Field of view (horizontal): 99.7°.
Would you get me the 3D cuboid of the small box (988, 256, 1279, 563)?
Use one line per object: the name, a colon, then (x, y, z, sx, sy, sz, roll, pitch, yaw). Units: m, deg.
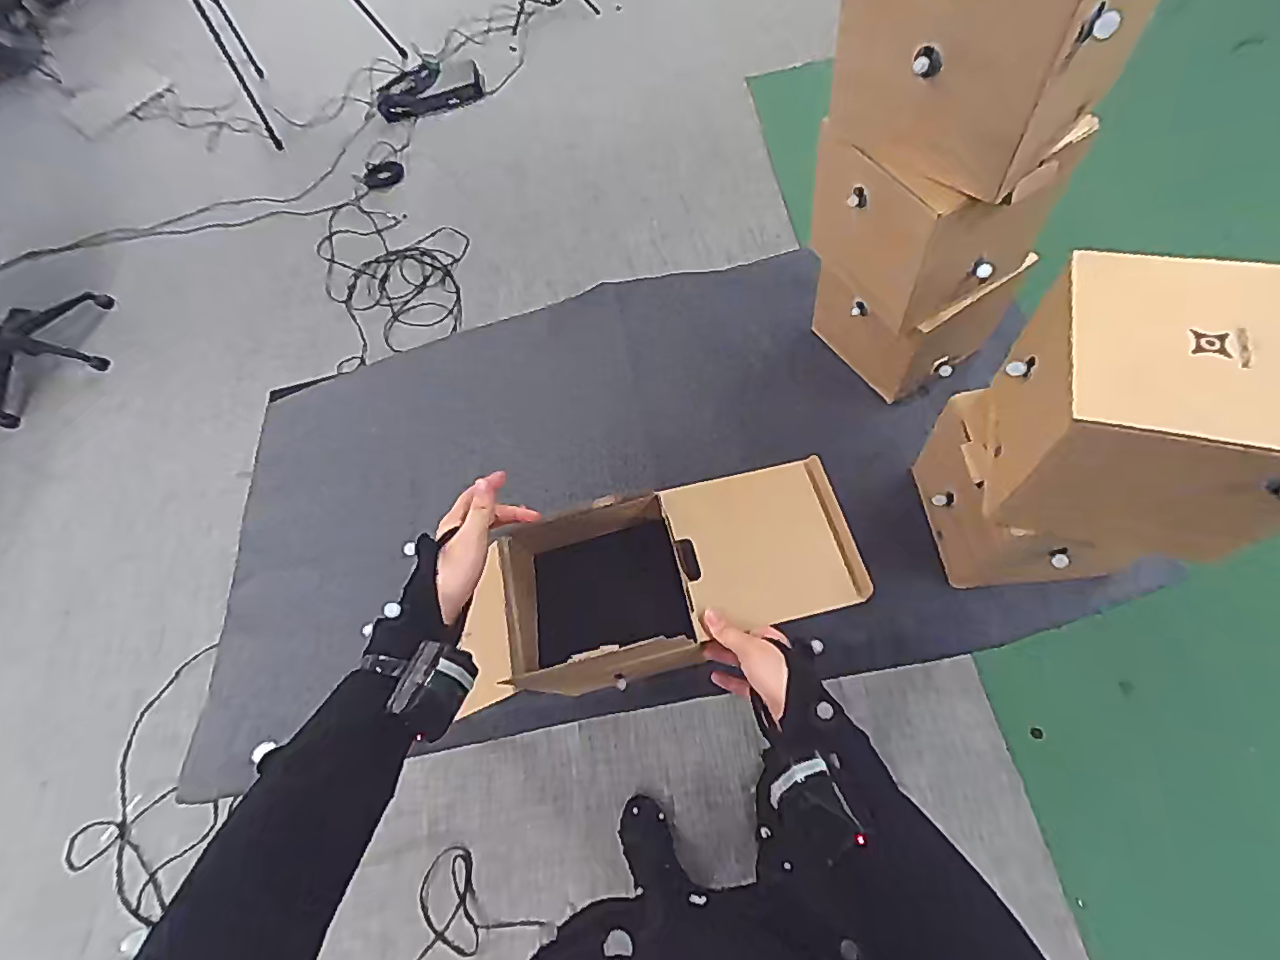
small box: (0.406, -0.049, 0.432, 0.179, 0.176, 0.168, 13, 66, 17)

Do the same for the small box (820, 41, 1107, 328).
small box: (0.308, -0.298, 0.568, 0.168, 0.176, 0.179, -30, 64, 1)

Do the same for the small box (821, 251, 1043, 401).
small box: (0.361, -0.238, 0.715, 0.168, 0.176, 0.179, -33, 66, -2)

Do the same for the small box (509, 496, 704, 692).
small box: (-0.029, 0.139, 0.619, 0.179, 0.176, 0.168, -16, 65, 6)

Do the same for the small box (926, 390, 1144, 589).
small box: (0.430, 0.012, 0.583, 0.179, 0.176, 0.168, -7, 61, 9)
